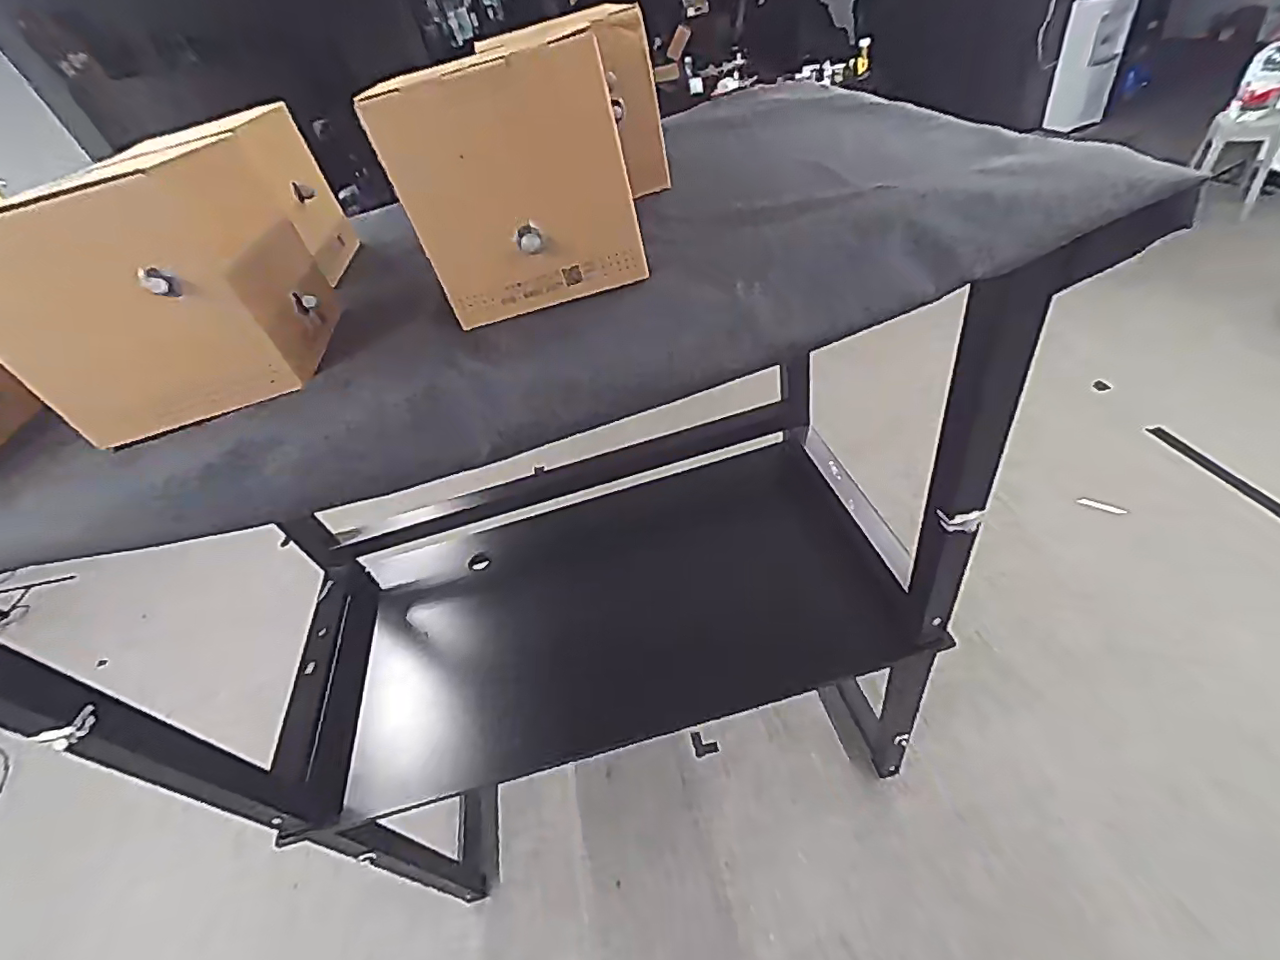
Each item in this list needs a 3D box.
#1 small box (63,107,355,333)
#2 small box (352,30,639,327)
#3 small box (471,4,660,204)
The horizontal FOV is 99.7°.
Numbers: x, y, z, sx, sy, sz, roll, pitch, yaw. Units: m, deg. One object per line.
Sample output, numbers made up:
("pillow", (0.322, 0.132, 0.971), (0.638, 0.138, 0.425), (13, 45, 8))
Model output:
("small box", (-0.467, -0.299, 0.627), (0.179, 0.176, 0.168), (-17, 43, 1))
("small box", (-0.105, -0.257, 0.465), (0.168, 0.176, 0.179), (-15, 42, 3))
("small box", (-0.084, -0.417, 0.626), (0.168, 0.176, 0.179), (-17, 43, -2))
